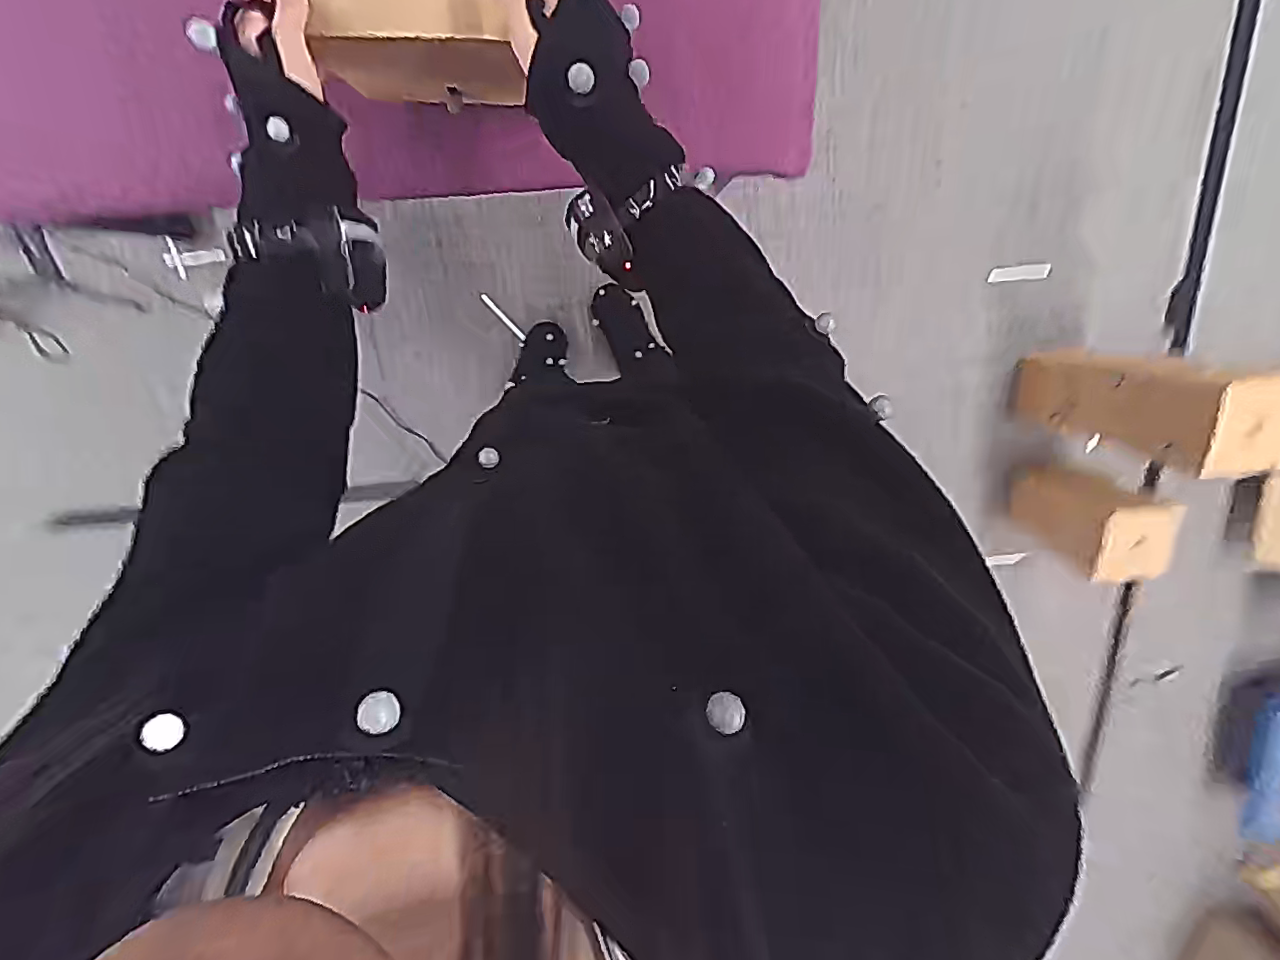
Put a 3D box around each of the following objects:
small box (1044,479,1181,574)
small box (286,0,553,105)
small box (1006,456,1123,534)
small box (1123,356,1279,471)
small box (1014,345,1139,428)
[{"bbox_3d":[1.118,0.104,1.297,0.168,0.176,0.179,-4,111,-1],"label":"small box"},{"bbox_3d":[-0.158,-0.408,0.418,0.179,0.176,0.168,-2,113,-6],"label":"small box"},{"bbox_3d":[1.126,0.042,1.450,0.179,0.176,0.168,-7,111,-1],"label":"small box"},{"bbox_3d":[1.089,-0.133,1.039,0.168,0.176,0.179,-8,109,-2],"label":"small box"},{"bbox_3d":[1.074,-0.240,1.348,0.168,0.176,0.179,-6,110,-1],"label":"small box"}]
